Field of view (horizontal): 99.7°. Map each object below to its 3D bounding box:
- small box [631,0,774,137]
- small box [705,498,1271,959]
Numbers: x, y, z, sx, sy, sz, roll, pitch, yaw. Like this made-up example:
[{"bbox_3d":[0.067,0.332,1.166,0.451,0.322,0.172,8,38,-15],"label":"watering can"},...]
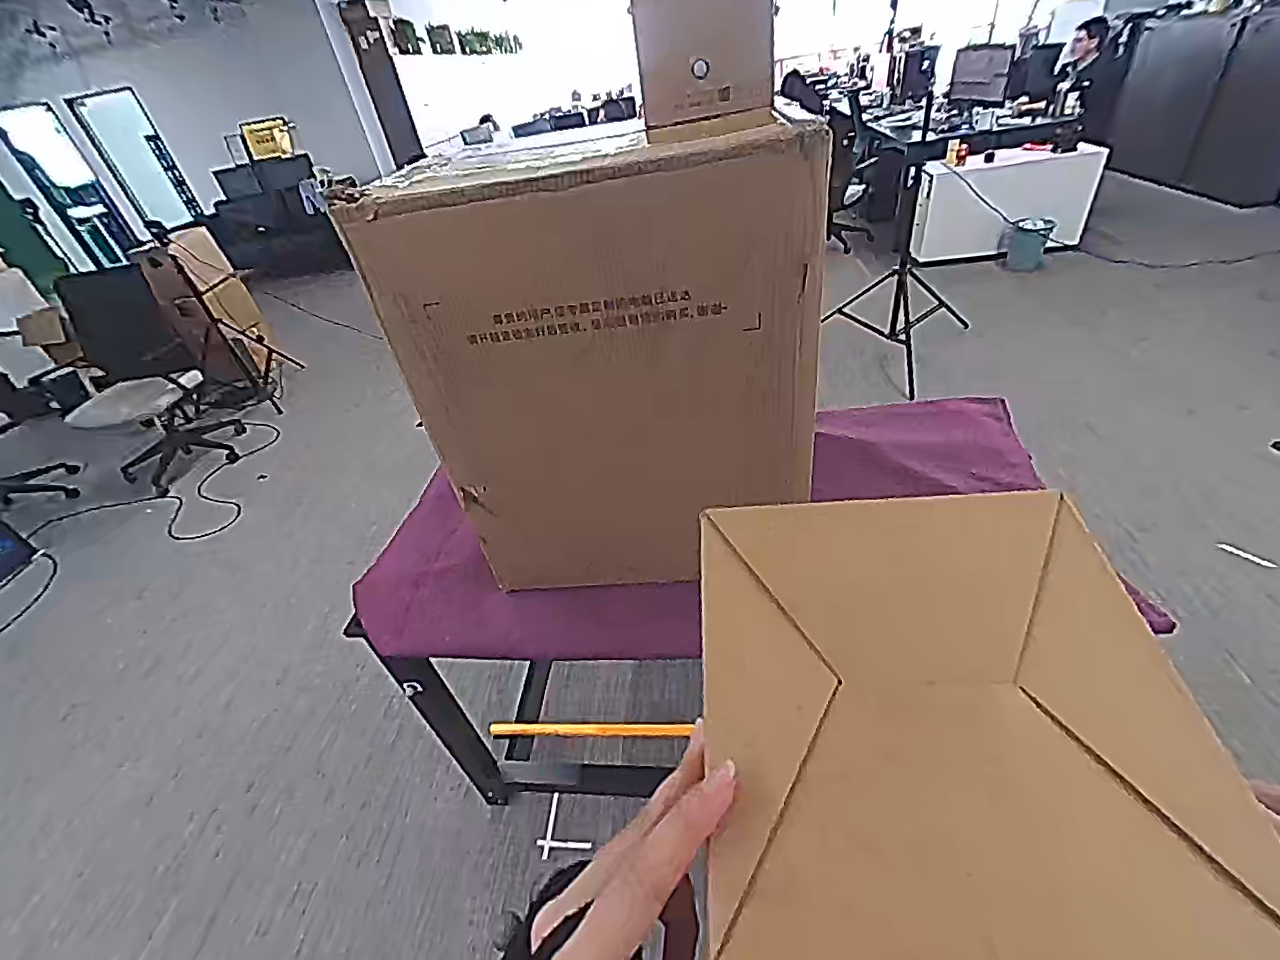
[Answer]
[{"bbox_3d":[0.084,-0.562,0.707,0.168,0.176,0.179,-4,38,10],"label":"small box"},{"bbox_3d":[0.120,0.131,0.264,0.168,0.176,0.179,-3,47,9],"label":"small box"}]
